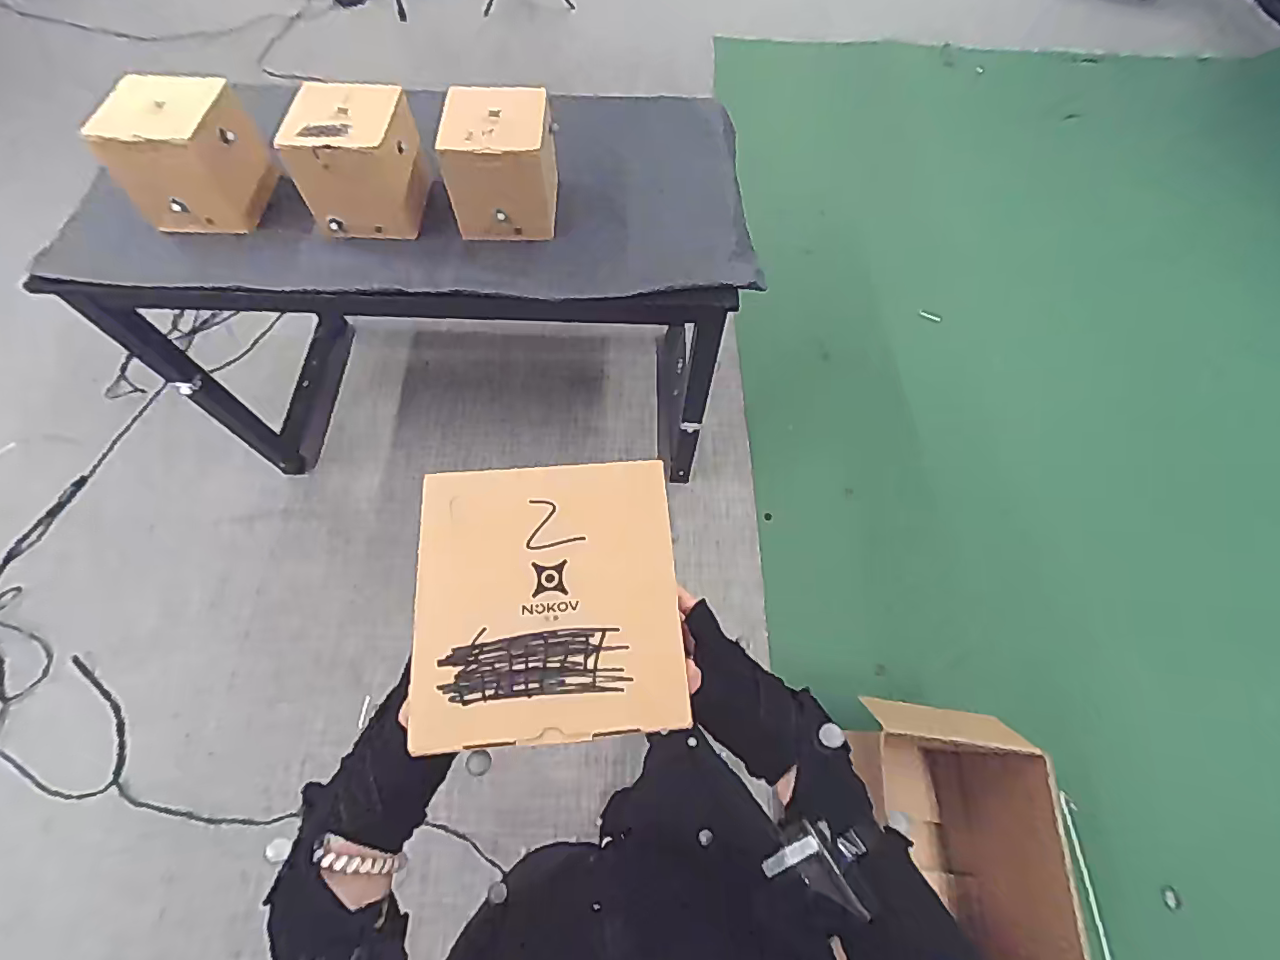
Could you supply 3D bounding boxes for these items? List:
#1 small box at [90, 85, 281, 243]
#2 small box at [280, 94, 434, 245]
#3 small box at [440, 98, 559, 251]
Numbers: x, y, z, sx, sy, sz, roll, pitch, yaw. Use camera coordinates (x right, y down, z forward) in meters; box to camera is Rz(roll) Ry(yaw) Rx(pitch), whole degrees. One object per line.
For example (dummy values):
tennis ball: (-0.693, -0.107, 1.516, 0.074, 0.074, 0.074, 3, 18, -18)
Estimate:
small box: (-0.766, -0.544, 0.940, 0.168, 0.176, 0.179, 1, 62, -3)
small box: (-0.478, -0.536, 0.946, 0.168, 0.176, 0.179, 2, 62, -1)
small box: (-0.235, -0.535, 0.954, 0.168, 0.176, 0.179, 0, 63, -2)
